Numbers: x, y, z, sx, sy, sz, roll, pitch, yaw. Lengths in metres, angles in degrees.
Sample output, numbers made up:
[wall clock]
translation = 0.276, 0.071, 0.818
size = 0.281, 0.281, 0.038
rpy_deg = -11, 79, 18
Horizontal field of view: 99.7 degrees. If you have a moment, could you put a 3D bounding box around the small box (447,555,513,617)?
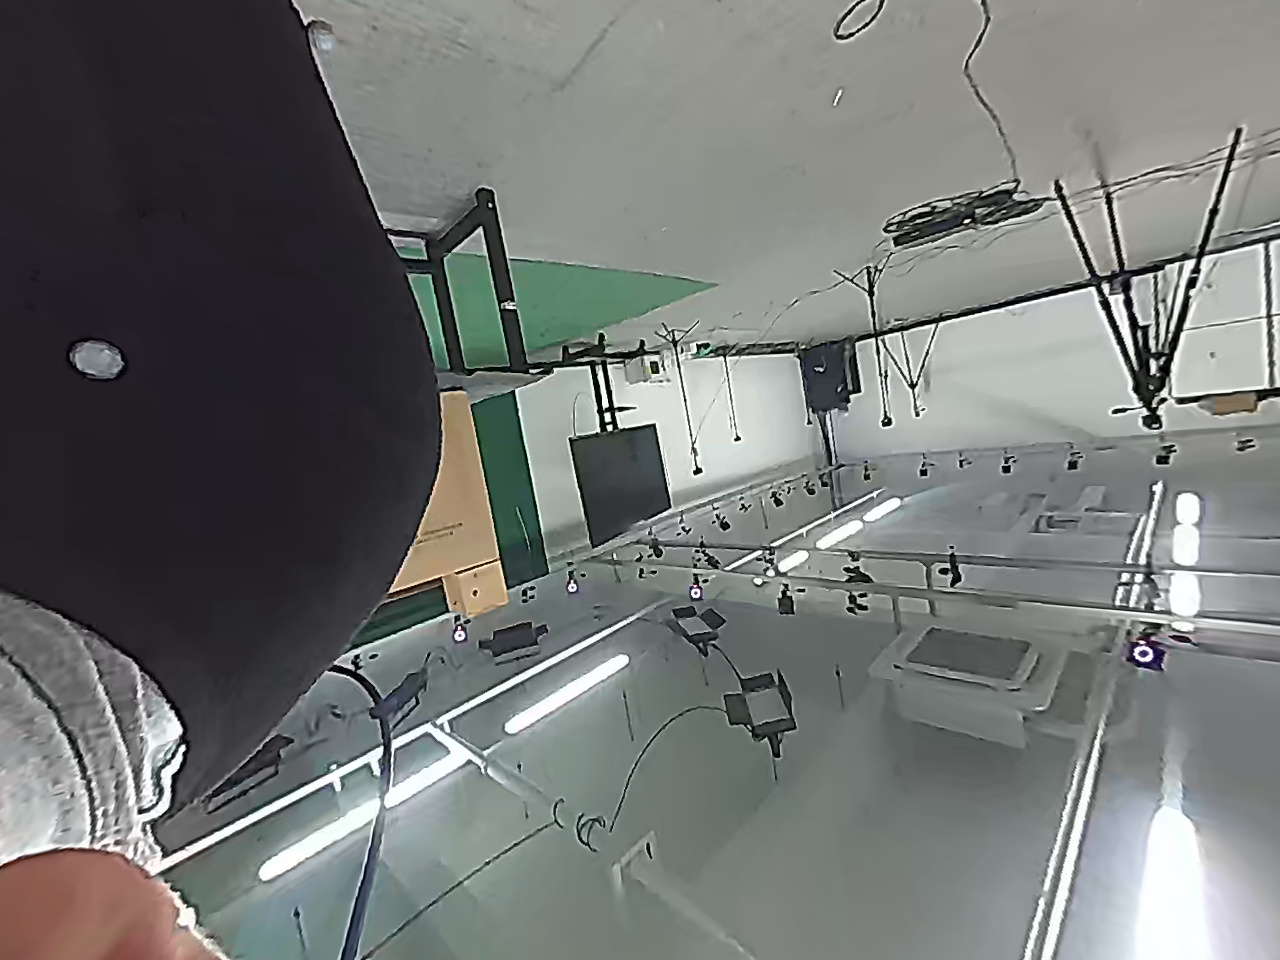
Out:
[small box]
translation = -0.599, 0.387, 2.005
size = 0.168, 0.176, 0.179
rpy_deg = -15, -171, -39
